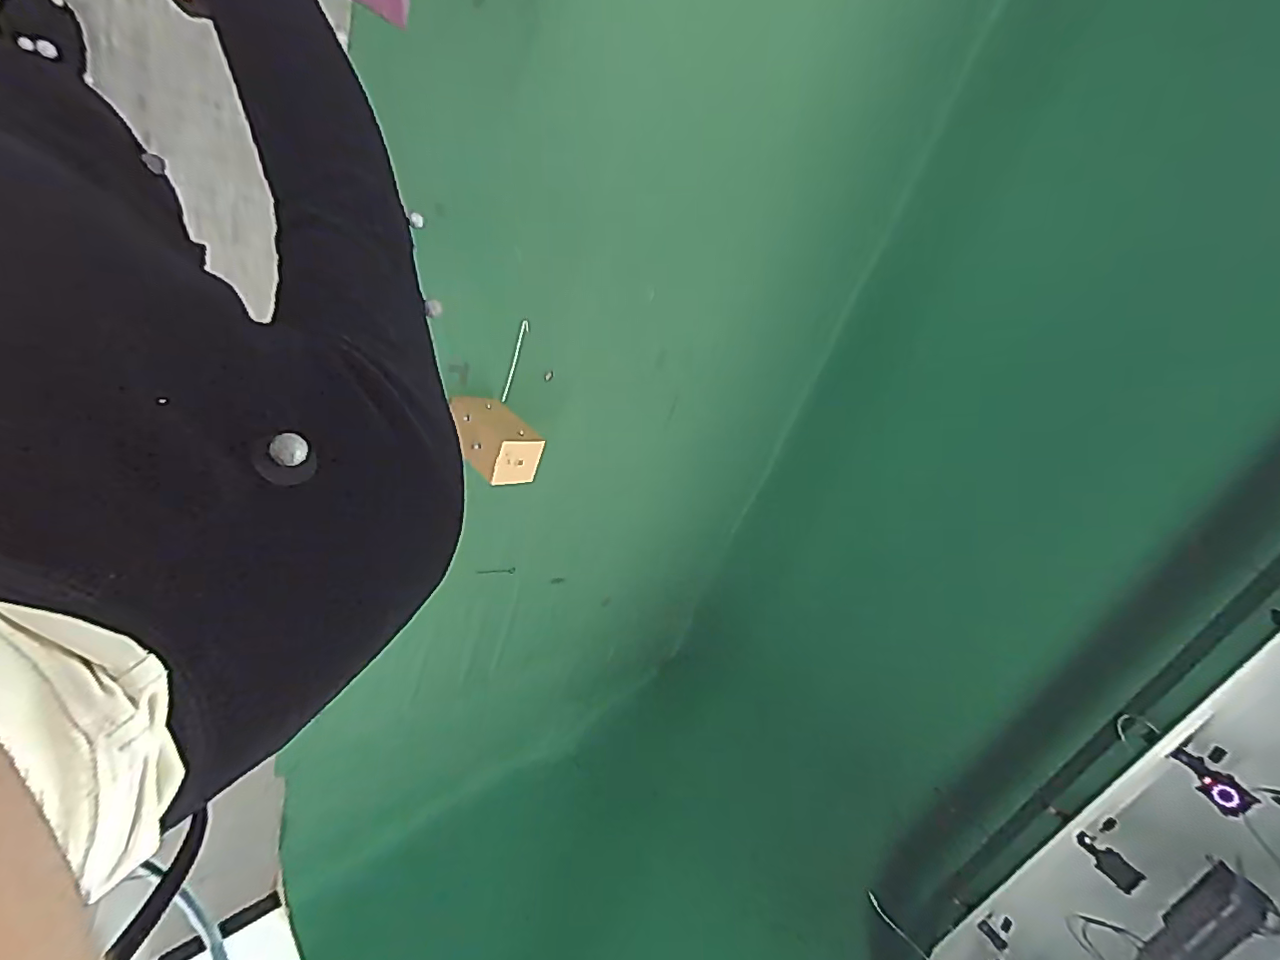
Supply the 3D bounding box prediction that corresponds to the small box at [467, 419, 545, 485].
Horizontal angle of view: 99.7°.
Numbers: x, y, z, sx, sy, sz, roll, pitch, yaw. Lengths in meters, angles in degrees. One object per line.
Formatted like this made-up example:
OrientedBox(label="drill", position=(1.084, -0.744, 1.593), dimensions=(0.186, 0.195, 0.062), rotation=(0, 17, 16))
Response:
OrientedBox(label="small box", position=(-0.464, -0.100, 1.862), dimensions=(0.179, 0.176, 0.168), rotation=(-5, 125, -49))
